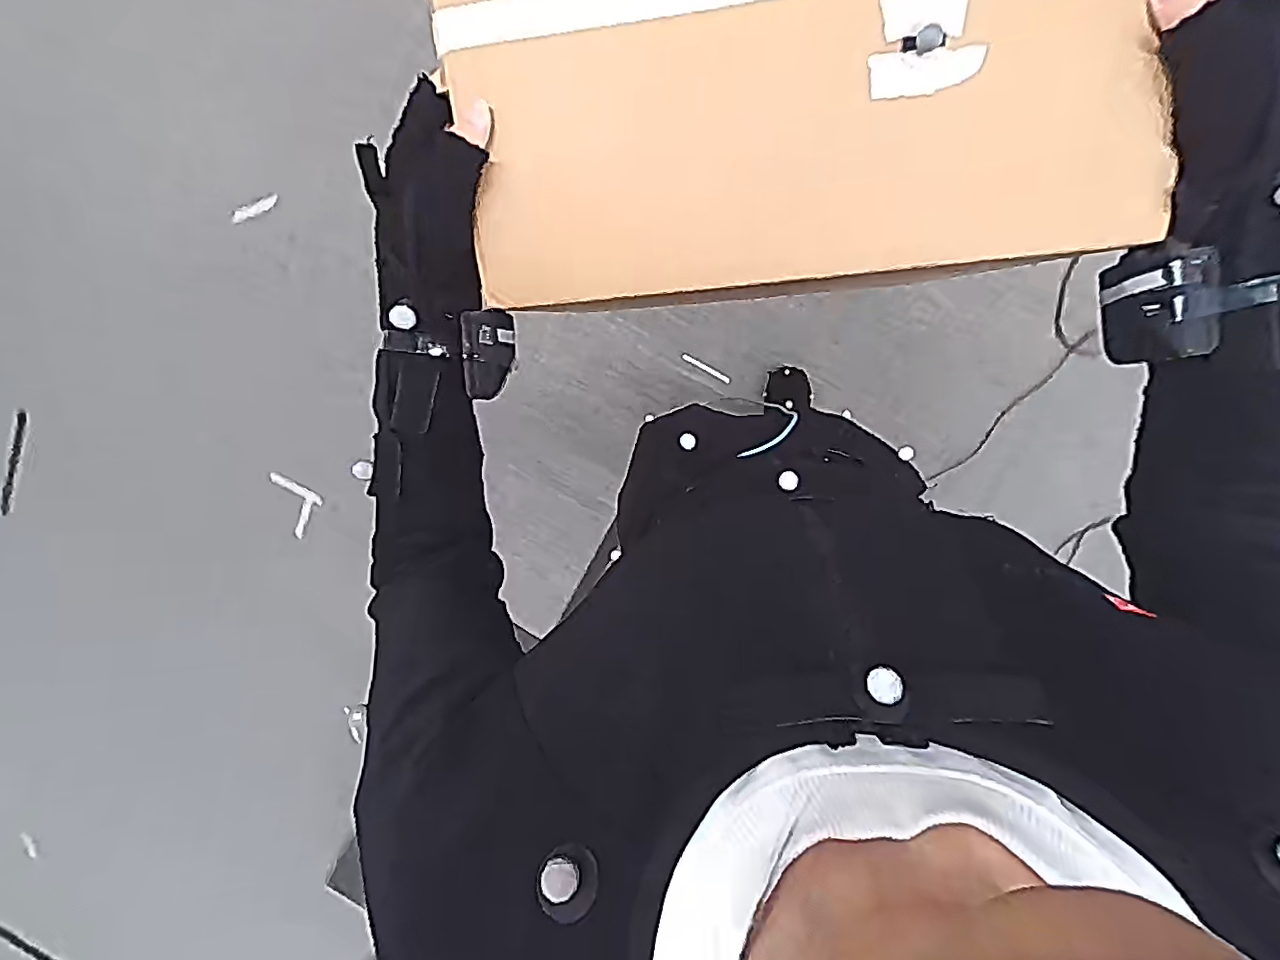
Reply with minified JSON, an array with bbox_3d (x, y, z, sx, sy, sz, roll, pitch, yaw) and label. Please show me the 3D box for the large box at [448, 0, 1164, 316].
[{"bbox_3d":[0.095,-0.323,0.450,0.408,0.320,0.320,-5,106,7],"label":"large box"}]
